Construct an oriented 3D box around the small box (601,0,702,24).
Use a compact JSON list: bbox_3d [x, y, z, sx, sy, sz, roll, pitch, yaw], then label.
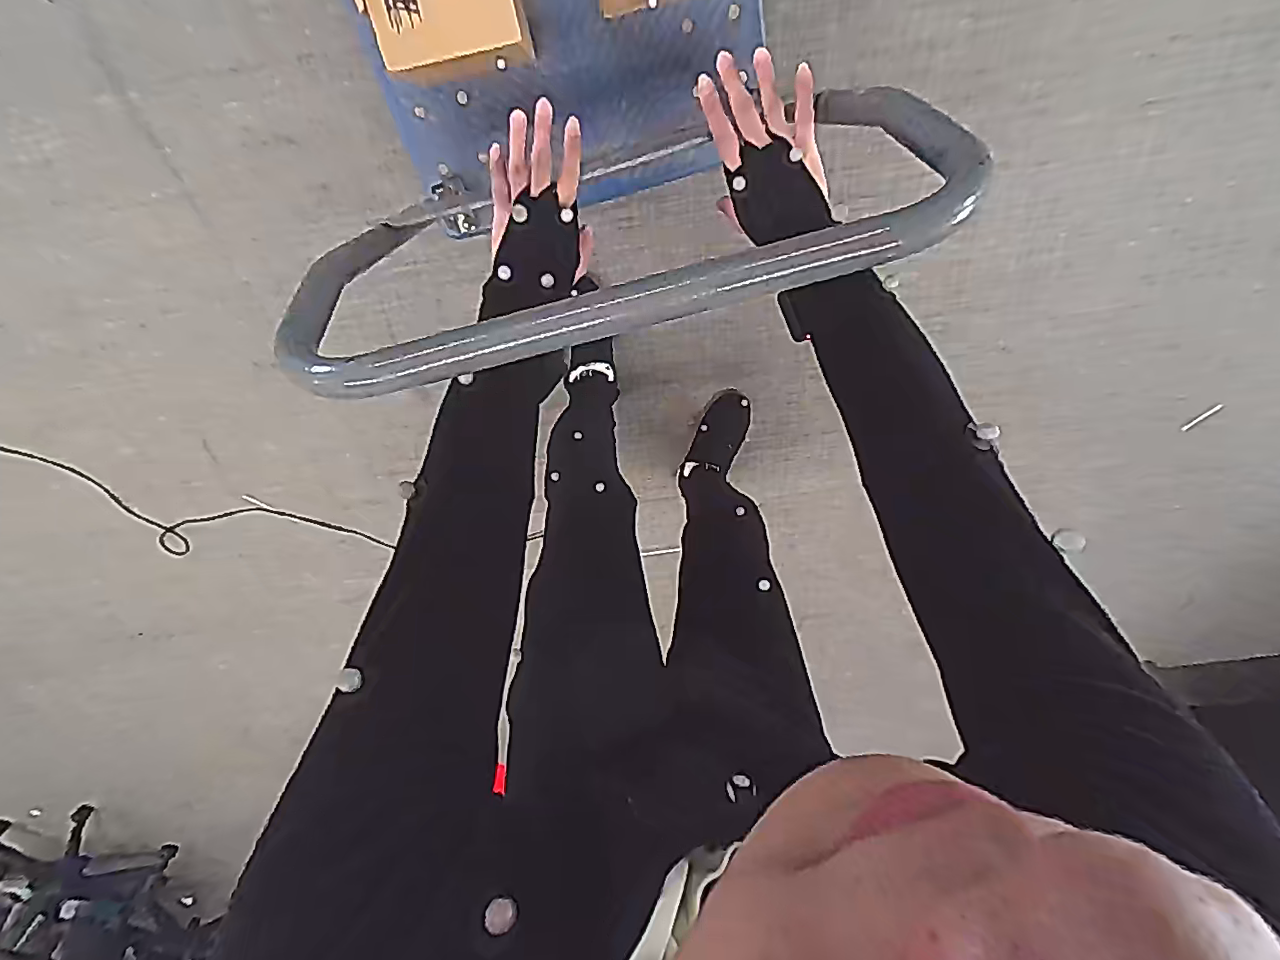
[{"bbox_3d":[0.015,-0.703,0.663,0.168,0.176,0.179,-12,122,4],"label":"small box"}]
